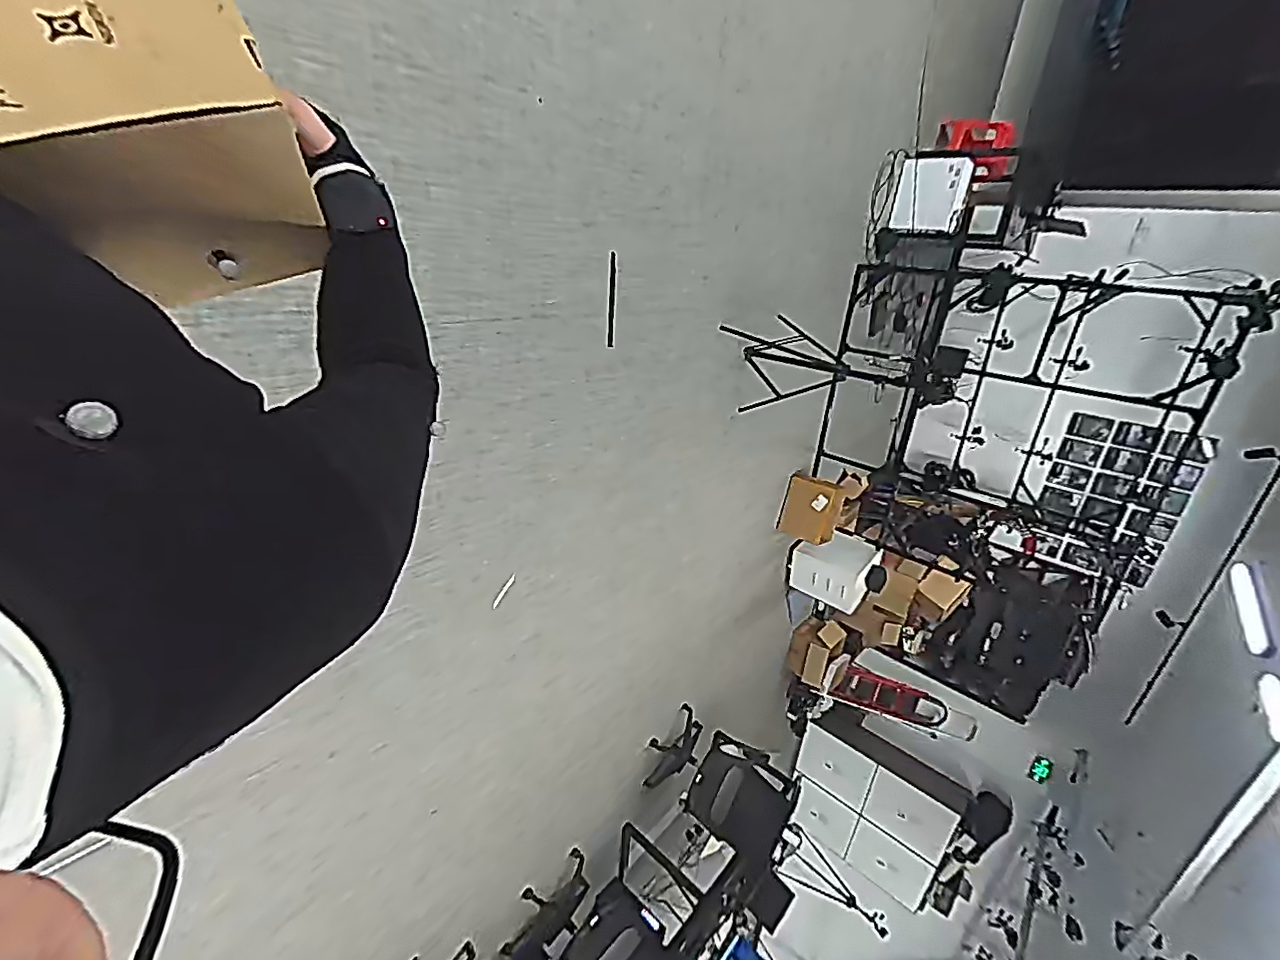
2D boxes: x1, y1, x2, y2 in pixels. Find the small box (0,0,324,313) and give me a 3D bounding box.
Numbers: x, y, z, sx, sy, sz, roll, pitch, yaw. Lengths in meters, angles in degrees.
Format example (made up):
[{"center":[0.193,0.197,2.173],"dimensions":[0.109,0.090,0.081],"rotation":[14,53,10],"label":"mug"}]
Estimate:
[{"center":[-0.388,-0.270,0.443],"dimensions":[0.179,0.168,0.176],"rotation":[-28,171,-23],"label":"small box"}]
